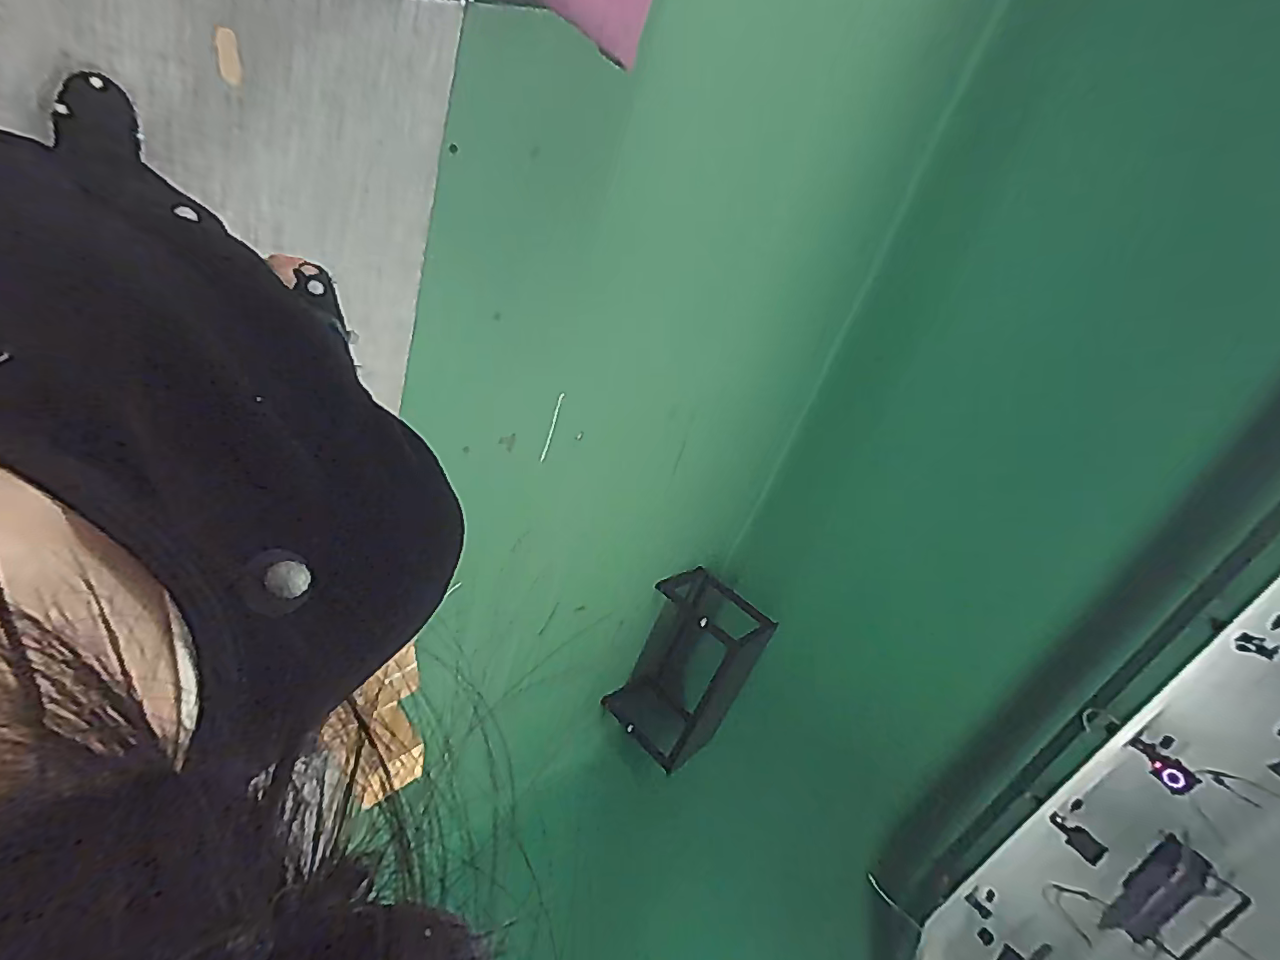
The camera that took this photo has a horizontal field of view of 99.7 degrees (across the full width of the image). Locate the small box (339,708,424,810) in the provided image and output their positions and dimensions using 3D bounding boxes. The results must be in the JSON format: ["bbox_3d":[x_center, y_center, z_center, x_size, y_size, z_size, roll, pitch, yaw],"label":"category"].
[{"bbox_3d":[-0.766,0.817,1.603,0.179,0.176,0.168,-18,133,-44],"label":"small box"}]

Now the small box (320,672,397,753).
[{"bbox_3d":[-0.876,0.730,1.685,0.168,0.176,0.179,-19,134,-44],"label":"small box"}]
